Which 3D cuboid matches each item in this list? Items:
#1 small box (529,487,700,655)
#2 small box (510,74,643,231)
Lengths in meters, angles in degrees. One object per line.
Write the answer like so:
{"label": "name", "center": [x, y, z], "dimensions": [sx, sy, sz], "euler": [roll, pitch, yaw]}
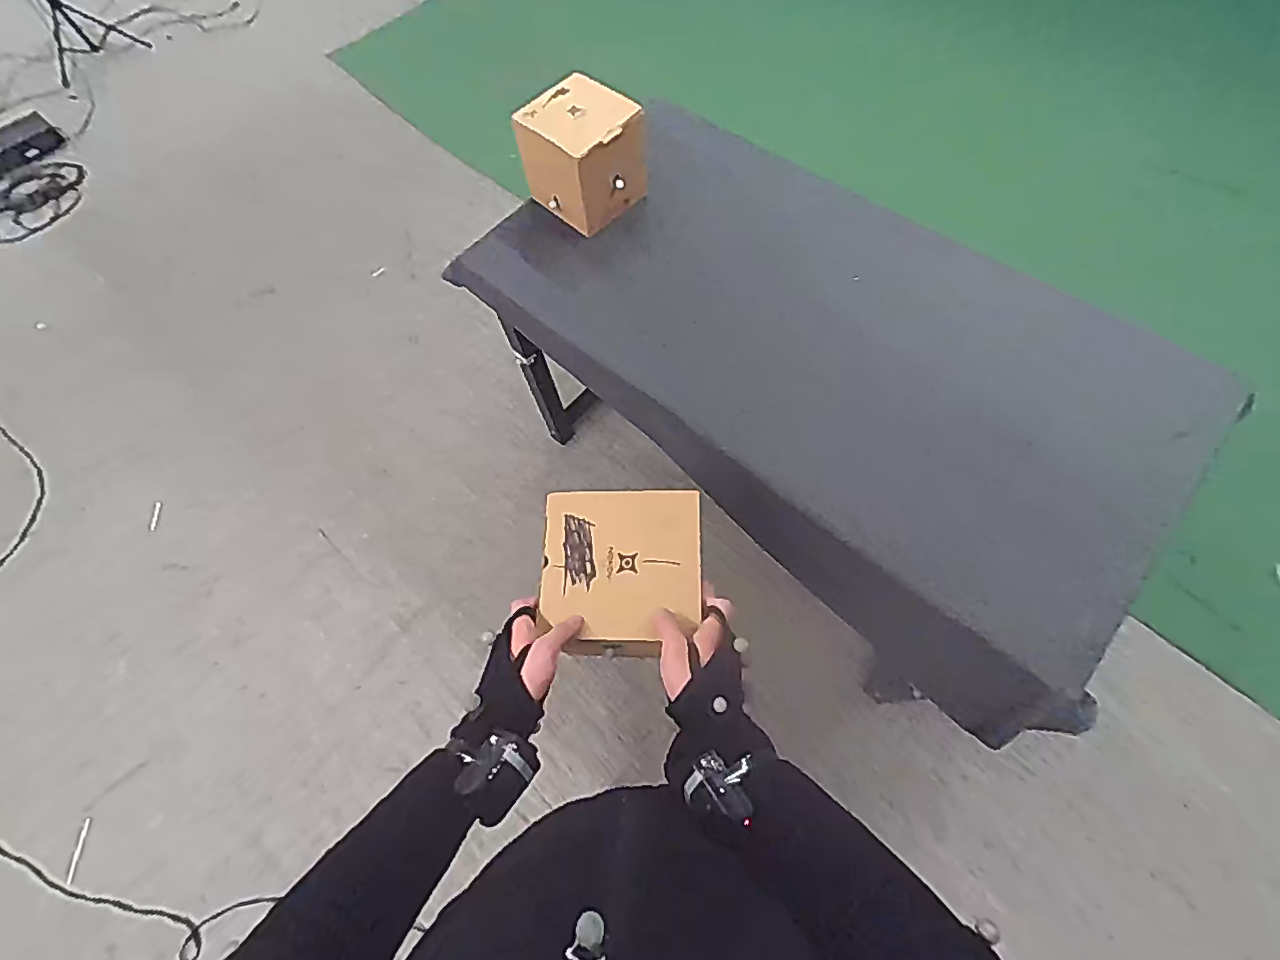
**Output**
{"label": "small box", "center": [-0.018, 0.116, 0.648], "dimensions": [0.179, 0.176, 0.168], "euler": [-1, 67, 5]}
{"label": "small box", "center": [-0.108, -0.605, 1.018], "dimensions": [0.179, 0.176, 0.168], "euler": [41, 75, 18]}
